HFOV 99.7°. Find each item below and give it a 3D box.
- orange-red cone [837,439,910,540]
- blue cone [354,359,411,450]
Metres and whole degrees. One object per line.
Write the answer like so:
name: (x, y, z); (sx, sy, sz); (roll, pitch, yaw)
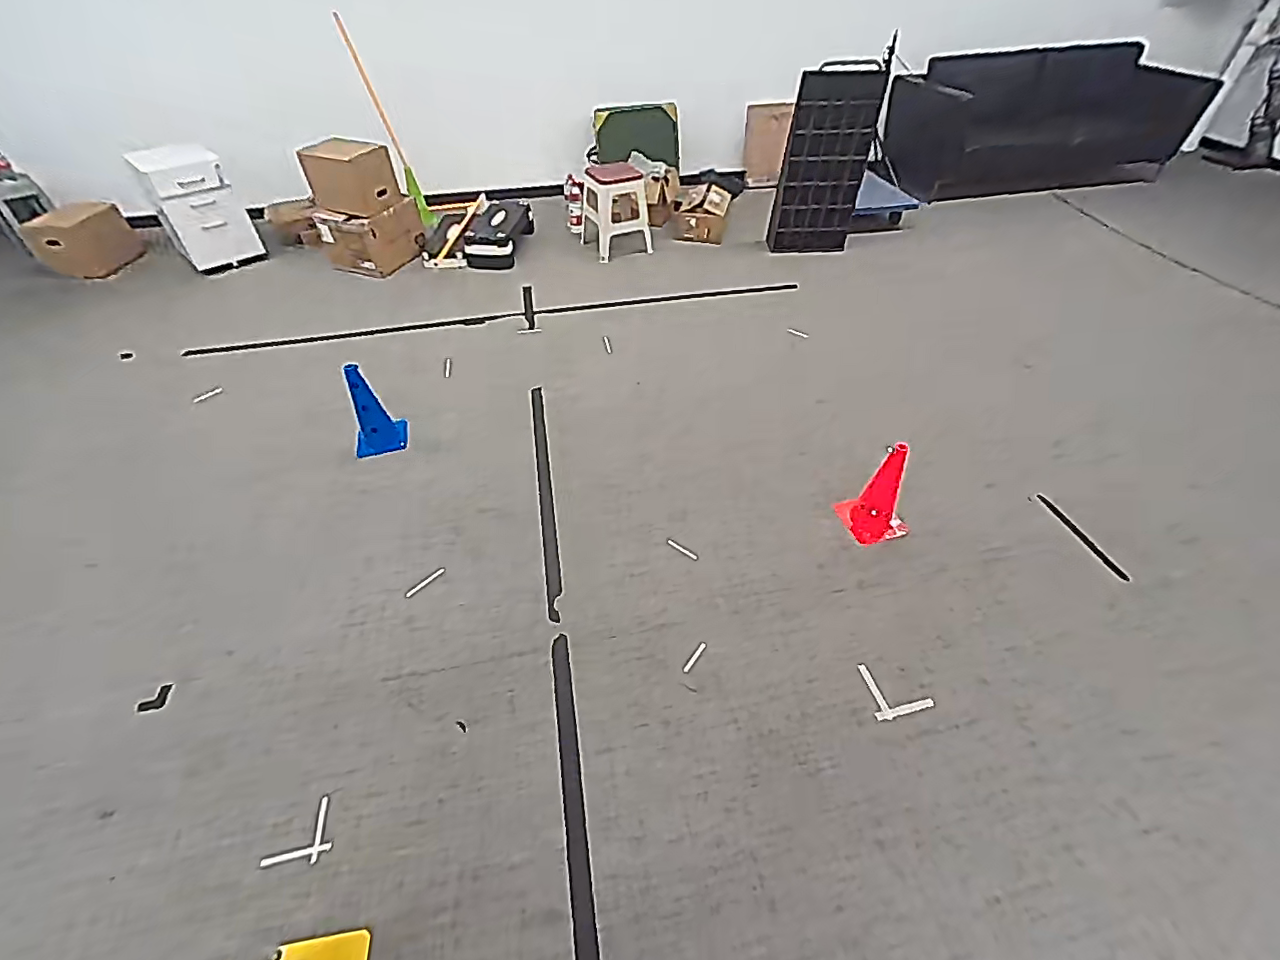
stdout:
orange-red cone: (0.832, 0.008, 1.823); (0.198, 0.360, 0.199); (-11, 45, -11)
blue cone: (-1.068, -0.312, 2.166); (0.192, 0.380, 0.193); (-12, 46, -11)
